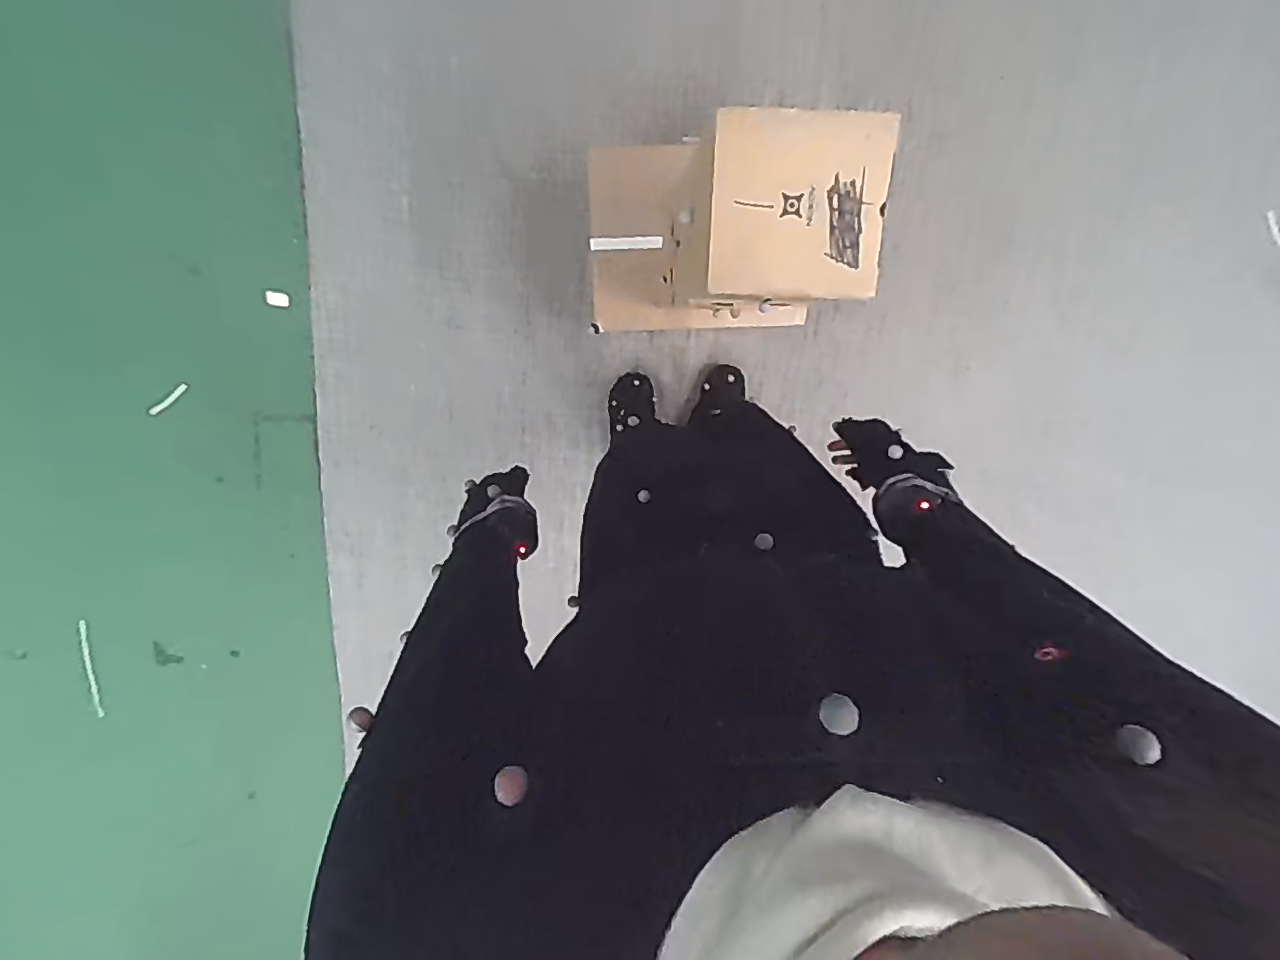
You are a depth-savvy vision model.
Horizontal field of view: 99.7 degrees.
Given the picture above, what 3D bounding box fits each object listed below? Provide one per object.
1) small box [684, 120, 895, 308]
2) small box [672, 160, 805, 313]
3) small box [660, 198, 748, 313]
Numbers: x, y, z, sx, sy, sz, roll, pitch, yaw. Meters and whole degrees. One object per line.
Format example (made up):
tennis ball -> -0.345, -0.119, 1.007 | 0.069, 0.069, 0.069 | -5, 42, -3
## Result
small box -> 0.149, -0.280, 0.601 | 0.179, 0.176, 0.168 | -2, 107, -3
small box -> 0.136, -0.329, 0.758 | 0.168, 0.176, 0.179 | 0, 108, -3
small box -> 0.126, -0.371, 0.916 | 0.179, 0.176, 0.168 | -1, 108, -4
